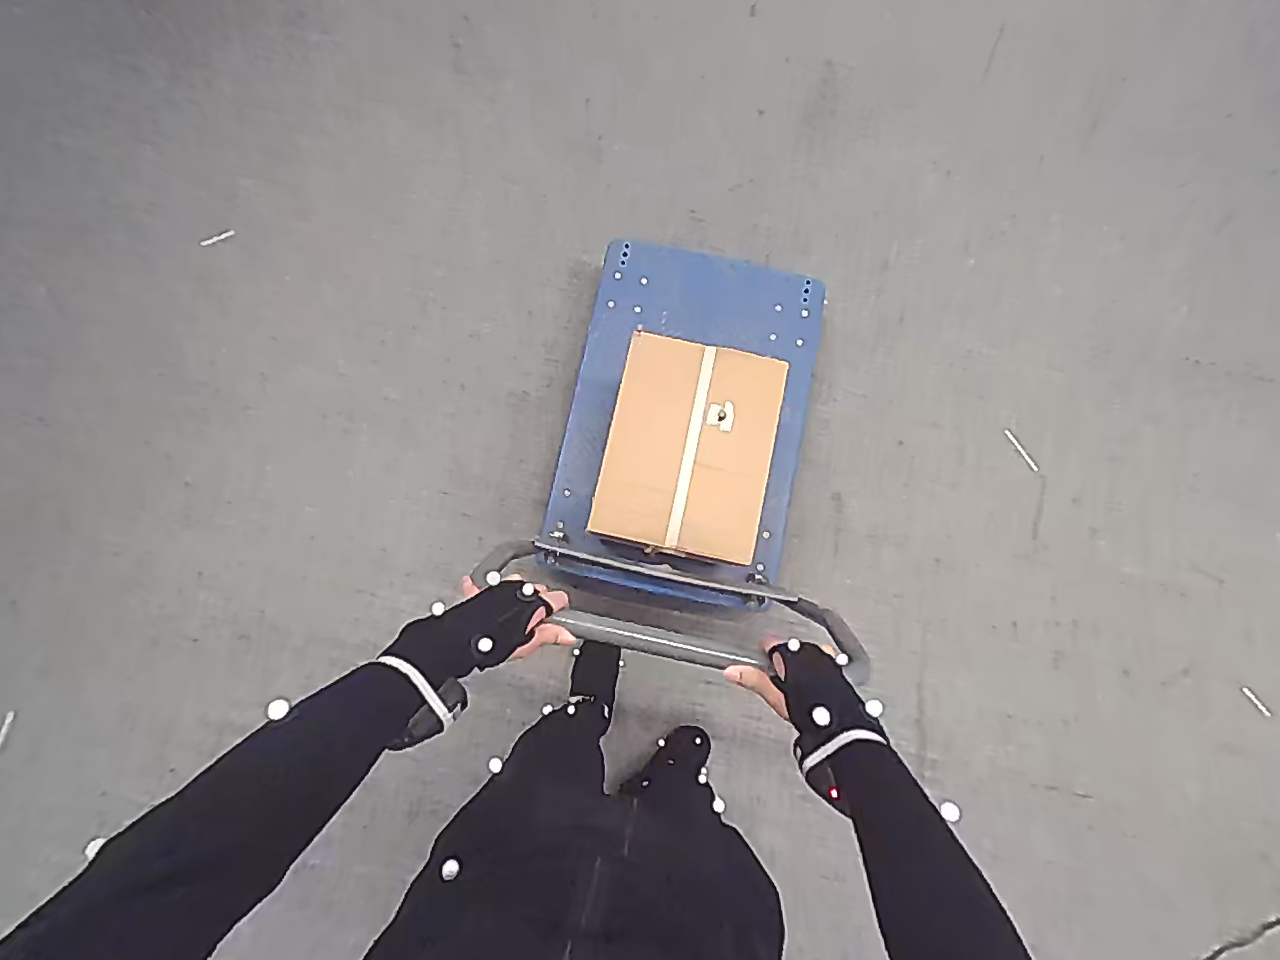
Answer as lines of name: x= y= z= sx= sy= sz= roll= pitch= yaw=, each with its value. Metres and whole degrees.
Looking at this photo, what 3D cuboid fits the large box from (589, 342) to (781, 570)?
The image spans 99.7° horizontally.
large box: x=0.090 y=-0.028 z=1.174 sx=0.320 sy=0.320 sz=0.408 roll=12 pitch=80 yaw=1
